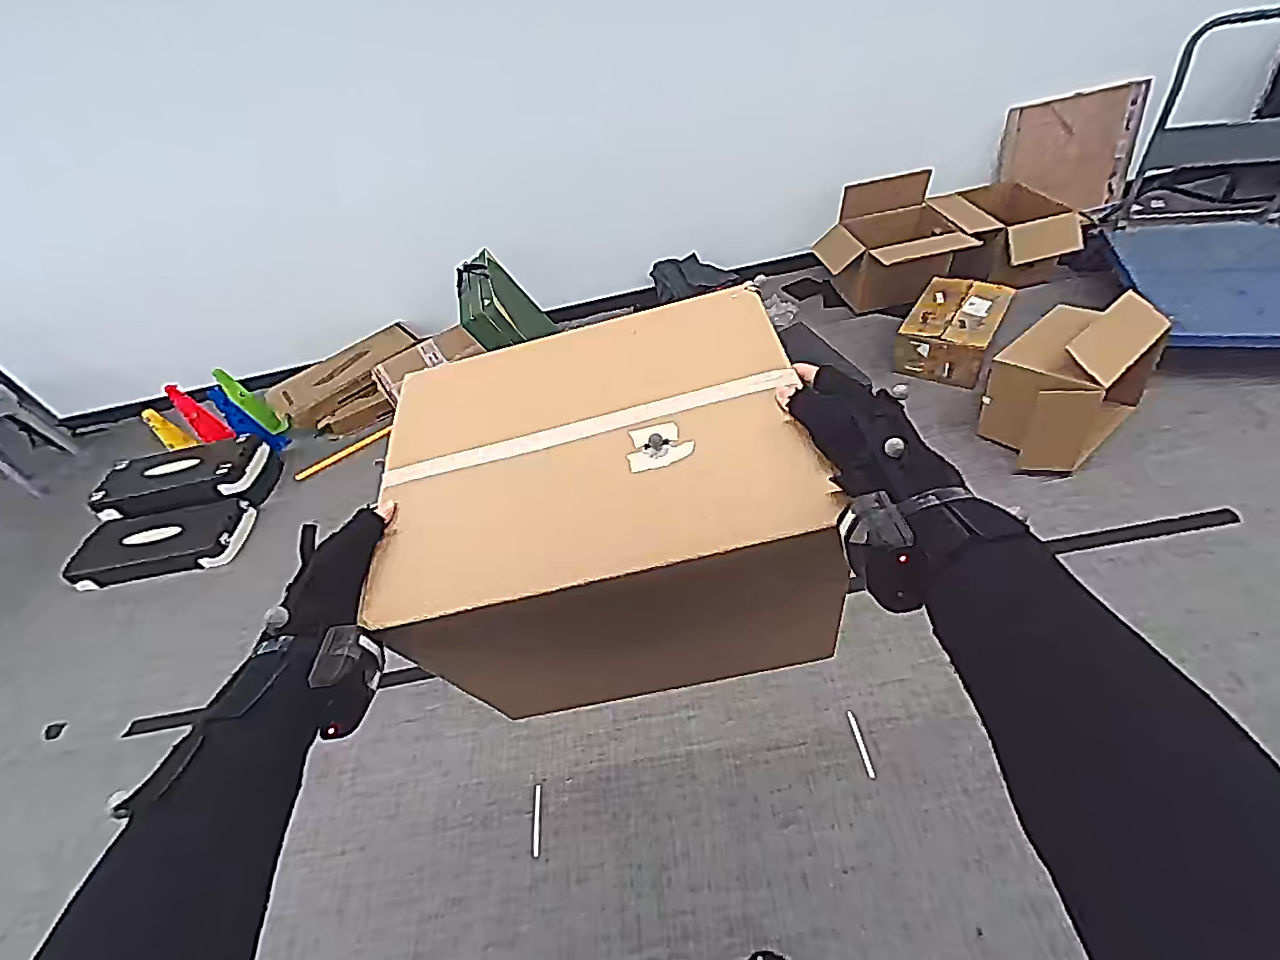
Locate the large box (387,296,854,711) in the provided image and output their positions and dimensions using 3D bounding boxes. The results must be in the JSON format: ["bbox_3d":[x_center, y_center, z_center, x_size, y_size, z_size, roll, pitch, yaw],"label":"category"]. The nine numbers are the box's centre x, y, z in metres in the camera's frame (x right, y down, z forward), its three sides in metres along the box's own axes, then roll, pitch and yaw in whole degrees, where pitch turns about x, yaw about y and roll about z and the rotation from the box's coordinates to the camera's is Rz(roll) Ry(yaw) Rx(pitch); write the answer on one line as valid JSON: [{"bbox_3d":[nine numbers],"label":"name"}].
[{"bbox_3d":[-0.014,0.044,0.644,0.408,0.320,0.320,-13,53,4],"label":"large box"}]
